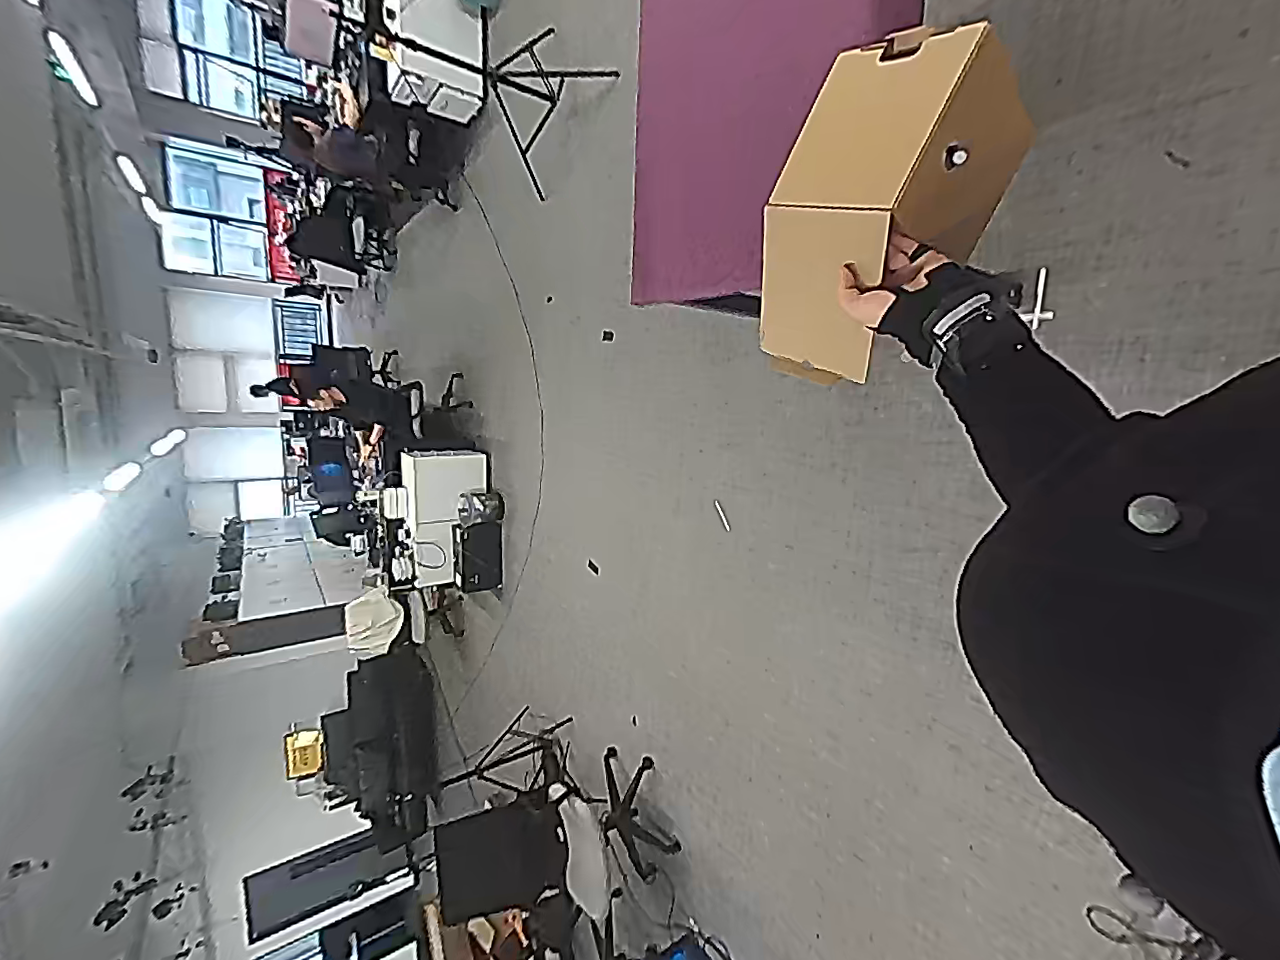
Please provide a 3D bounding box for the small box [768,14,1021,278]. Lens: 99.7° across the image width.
[{"bbox_3d":[0.284,-0.350,0.601,0.168,0.176,0.179,36,103,46],"label":"small box"}]
